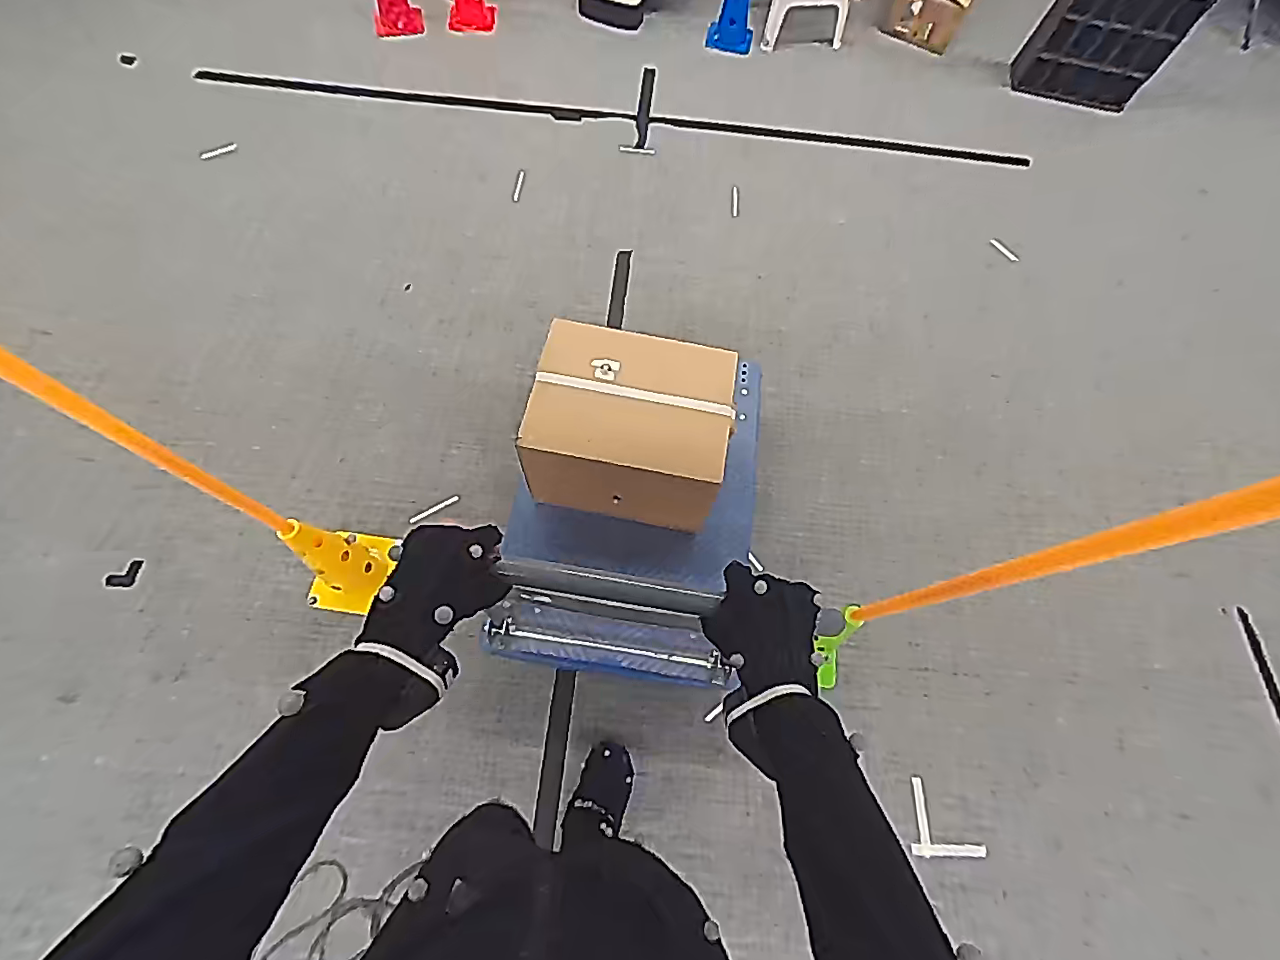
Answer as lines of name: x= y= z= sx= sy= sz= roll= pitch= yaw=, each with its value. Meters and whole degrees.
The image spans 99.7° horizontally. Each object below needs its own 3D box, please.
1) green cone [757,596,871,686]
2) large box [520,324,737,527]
green cone: x=0.416 y=0.341 z=1.226 sx=0.202 sy=0.368 sz=0.200 roll=10 pitch=66 yaw=-1
large box: x=-0.018 y=-0.108 z=1.235 sx=0.408 sy=0.320 sz=0.320 roll=11 pitch=67 yaw=2
